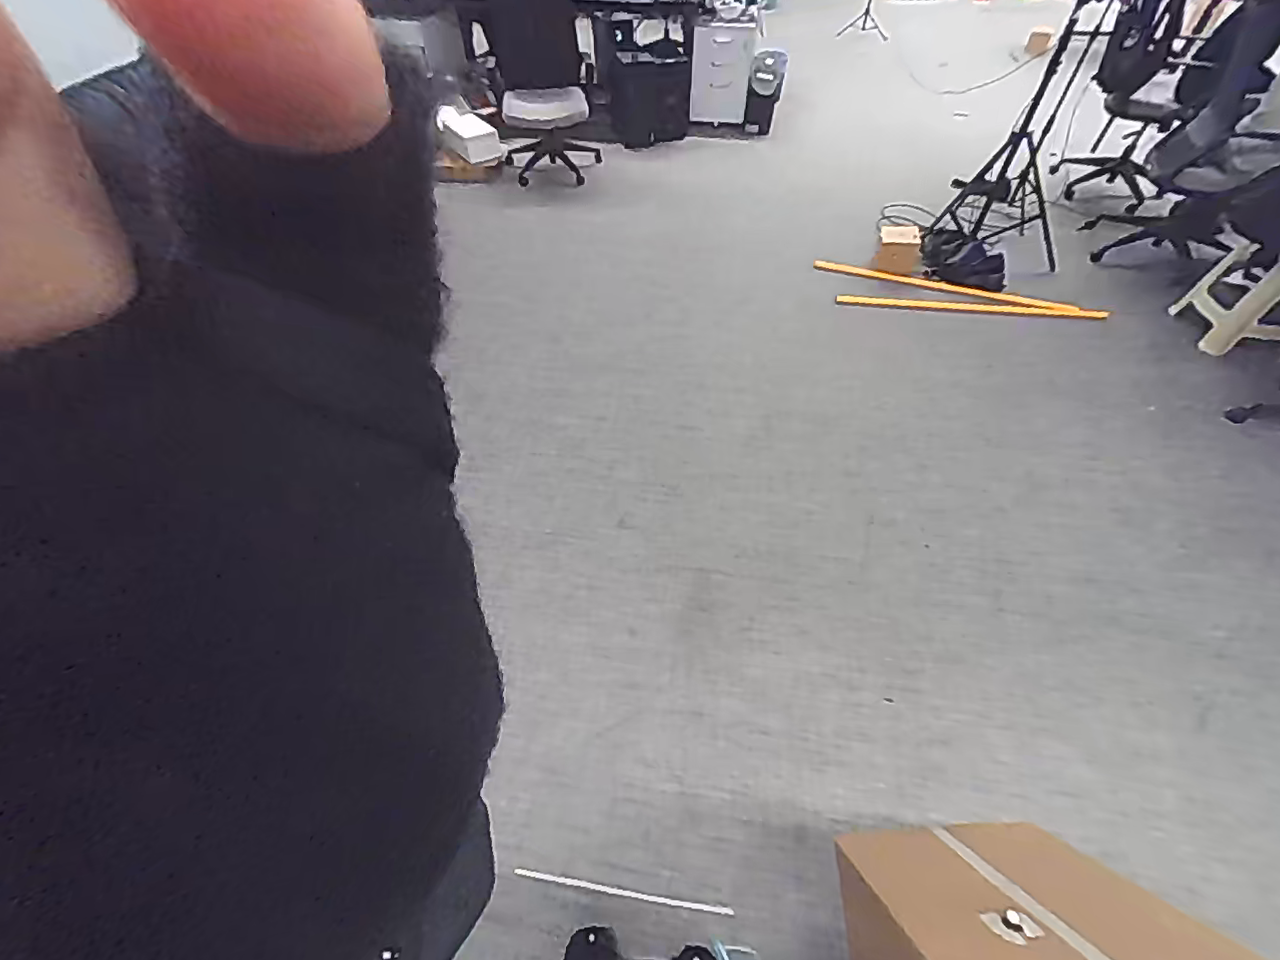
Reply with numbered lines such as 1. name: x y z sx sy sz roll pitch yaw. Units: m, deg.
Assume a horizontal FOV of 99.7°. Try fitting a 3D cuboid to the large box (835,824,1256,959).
1. large box: 0.460 0.650 0.617 0.320 0.408 0.320 -4 78 0
